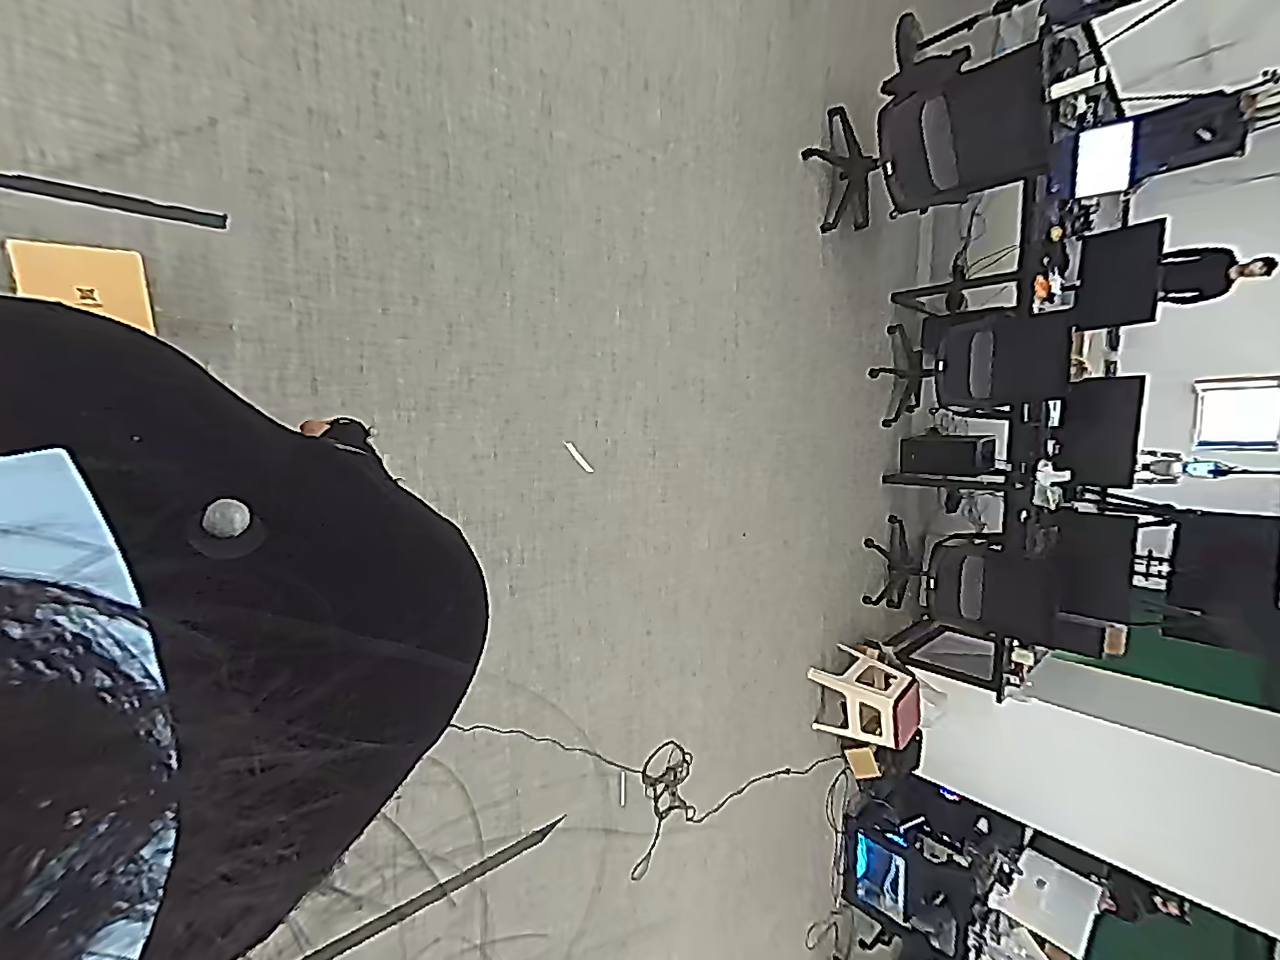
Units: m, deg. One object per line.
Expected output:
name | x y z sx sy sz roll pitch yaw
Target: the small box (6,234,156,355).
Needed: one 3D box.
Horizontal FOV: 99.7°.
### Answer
small box | -1.022 -0.330 0.999 0.168 0.176 0.179 -11 102 -42
